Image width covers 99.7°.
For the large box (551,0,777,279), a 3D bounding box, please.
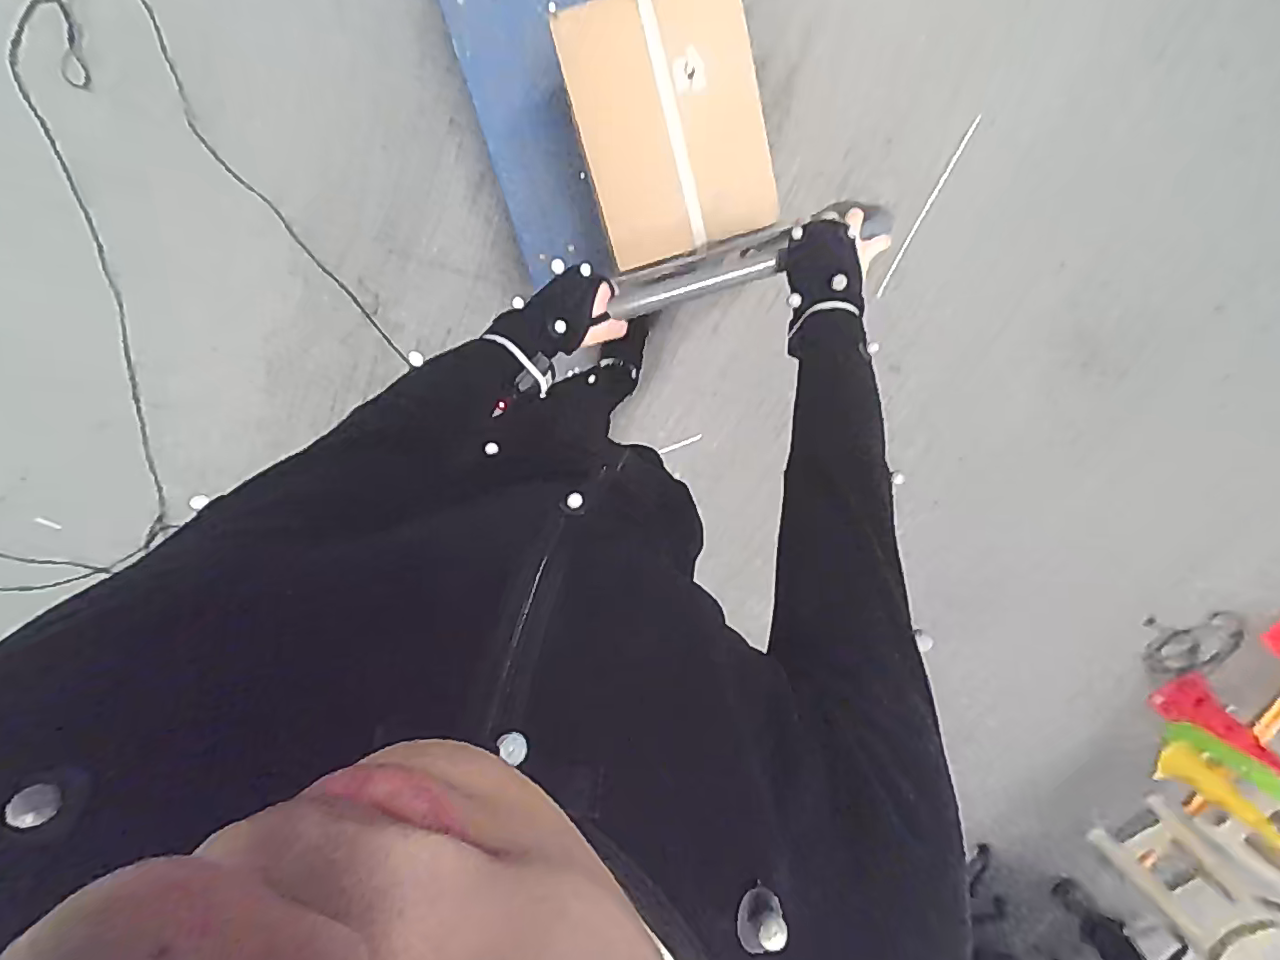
[{"bbox_3d":[0.048,-0.659,1.093,0.320,0.320,0.408,-17,109,2],"label":"large box"}]
